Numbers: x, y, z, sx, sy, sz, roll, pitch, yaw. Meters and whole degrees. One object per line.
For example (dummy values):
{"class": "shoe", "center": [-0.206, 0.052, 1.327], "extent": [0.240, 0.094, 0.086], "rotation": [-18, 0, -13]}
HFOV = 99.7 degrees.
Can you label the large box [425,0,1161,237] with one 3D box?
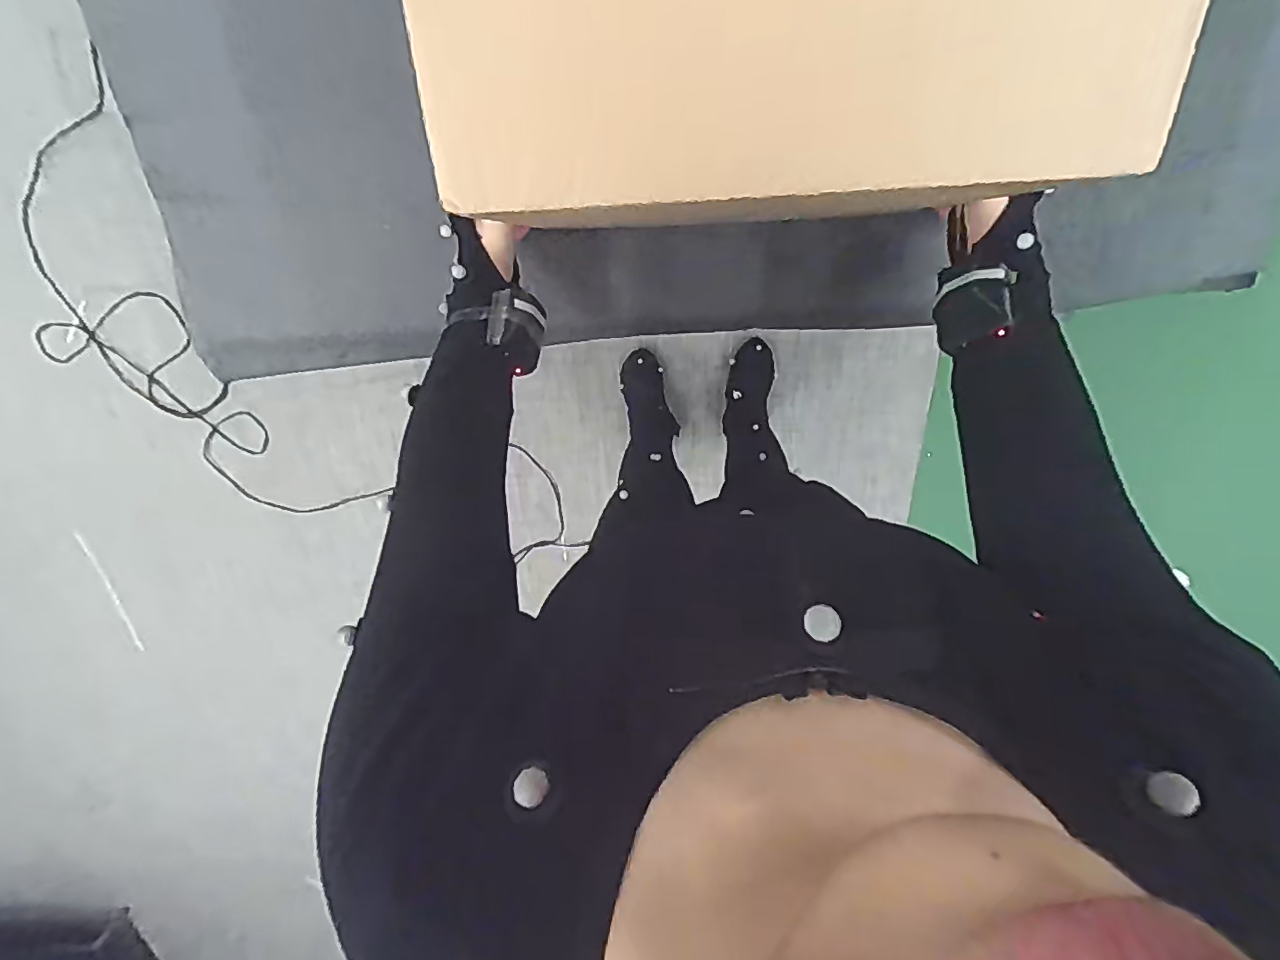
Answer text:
{"class": "large box", "center": [0.079, -0.371, 0.408], "extent": [0.408, 0.320, 0.320], "rotation": [-2, 113, 3]}
